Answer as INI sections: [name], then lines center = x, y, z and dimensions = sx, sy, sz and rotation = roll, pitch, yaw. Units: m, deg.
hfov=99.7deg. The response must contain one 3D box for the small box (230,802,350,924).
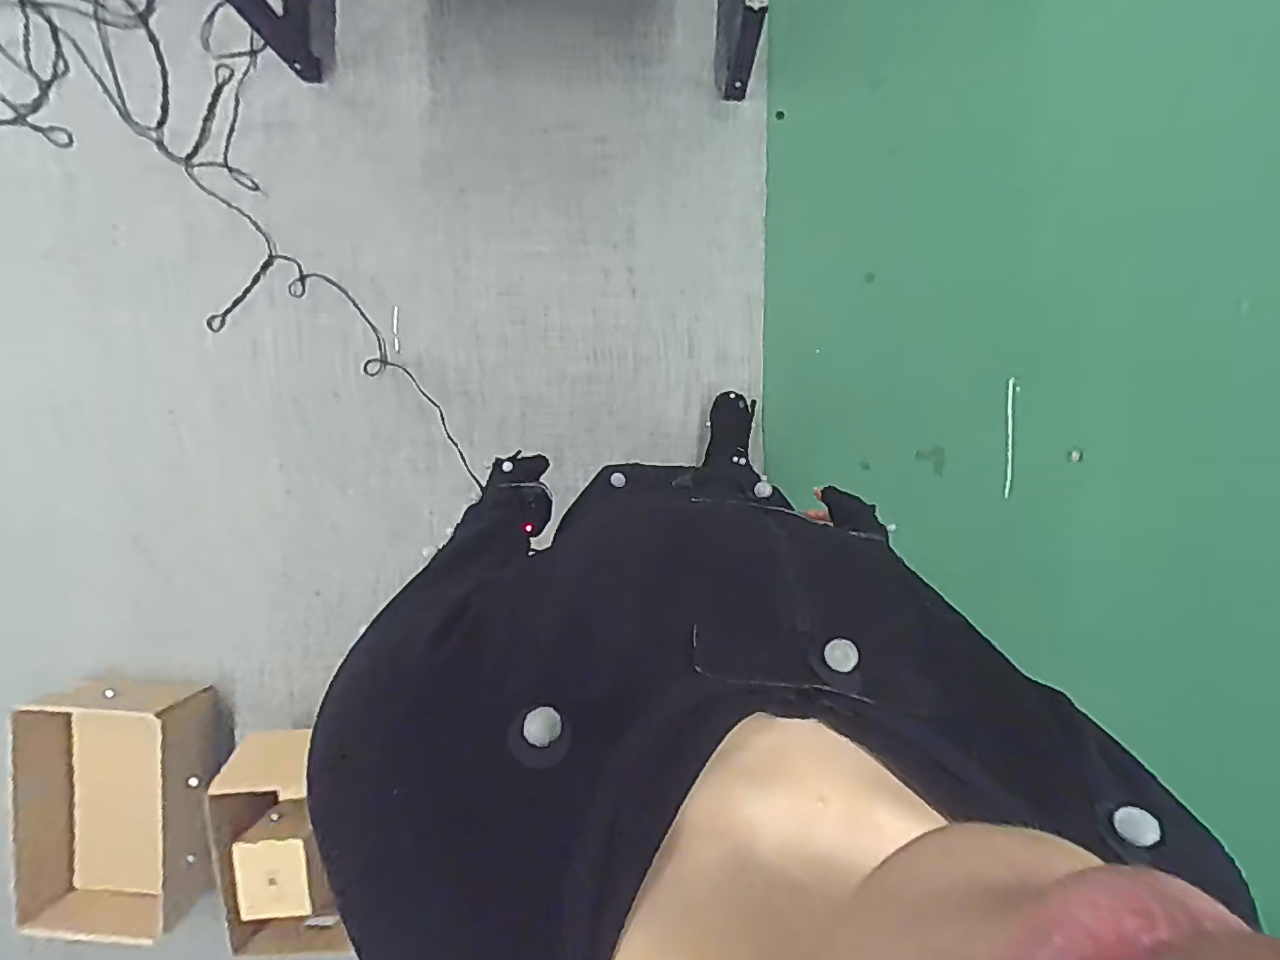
[small box]
center = -0.810, 0.882, 1.266
dimensions = 0.168, 0.176, 0.179
rotation = -6, 91, 2
